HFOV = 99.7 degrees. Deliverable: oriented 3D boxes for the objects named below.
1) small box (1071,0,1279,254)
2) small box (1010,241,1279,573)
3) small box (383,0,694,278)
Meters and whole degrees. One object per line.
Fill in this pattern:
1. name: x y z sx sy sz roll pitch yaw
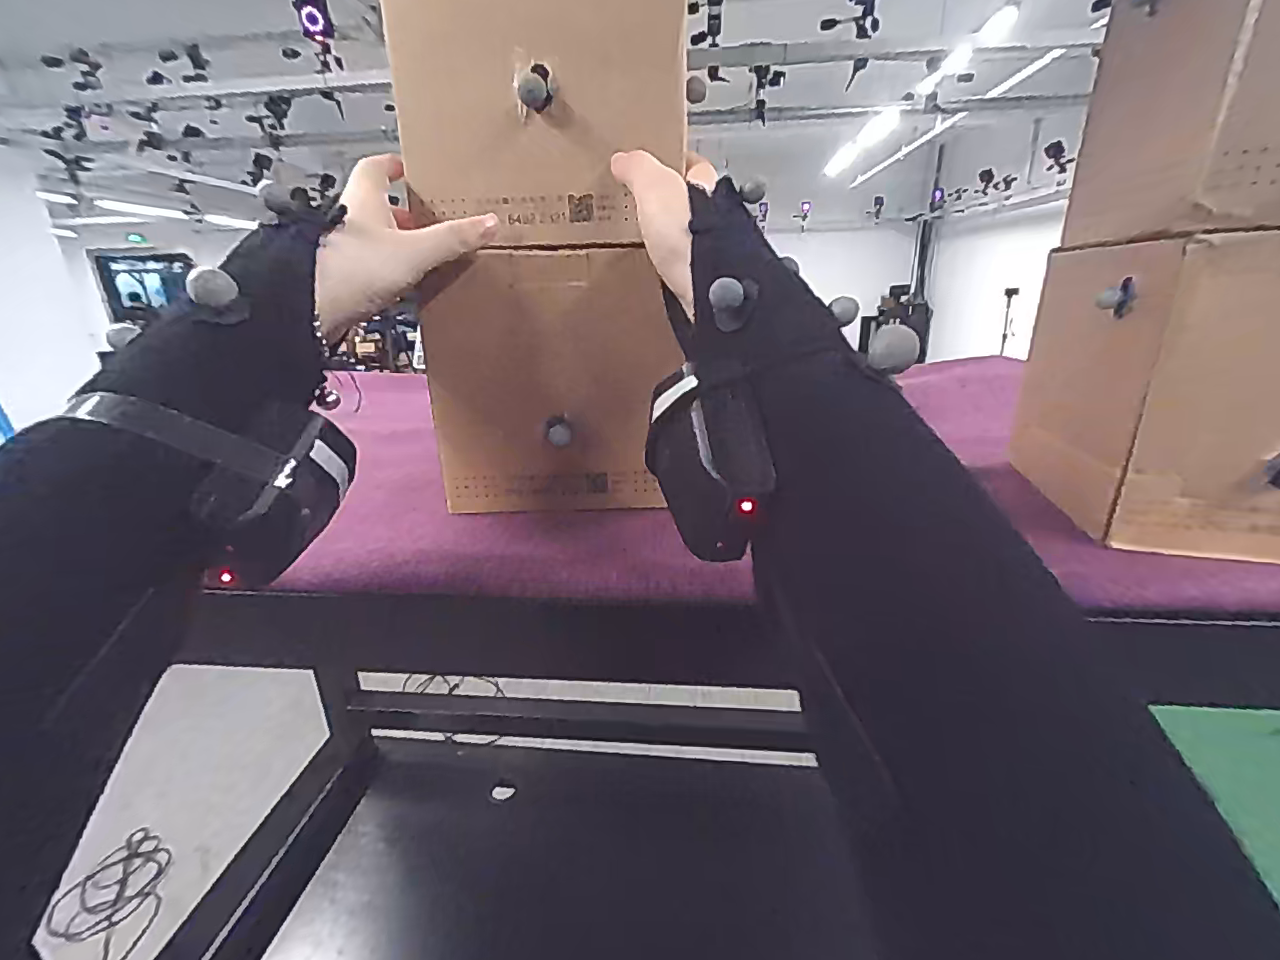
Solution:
1. small box: 0.356 -0.204 0.272 0.168 0.176 0.179 4 22 19
2. small box: 0.361 -0.055 0.335 0.168 0.176 0.179 4 22 16
3. small box: -0.047 -0.235 0.373 0.168 0.176 0.179 0 19 4
